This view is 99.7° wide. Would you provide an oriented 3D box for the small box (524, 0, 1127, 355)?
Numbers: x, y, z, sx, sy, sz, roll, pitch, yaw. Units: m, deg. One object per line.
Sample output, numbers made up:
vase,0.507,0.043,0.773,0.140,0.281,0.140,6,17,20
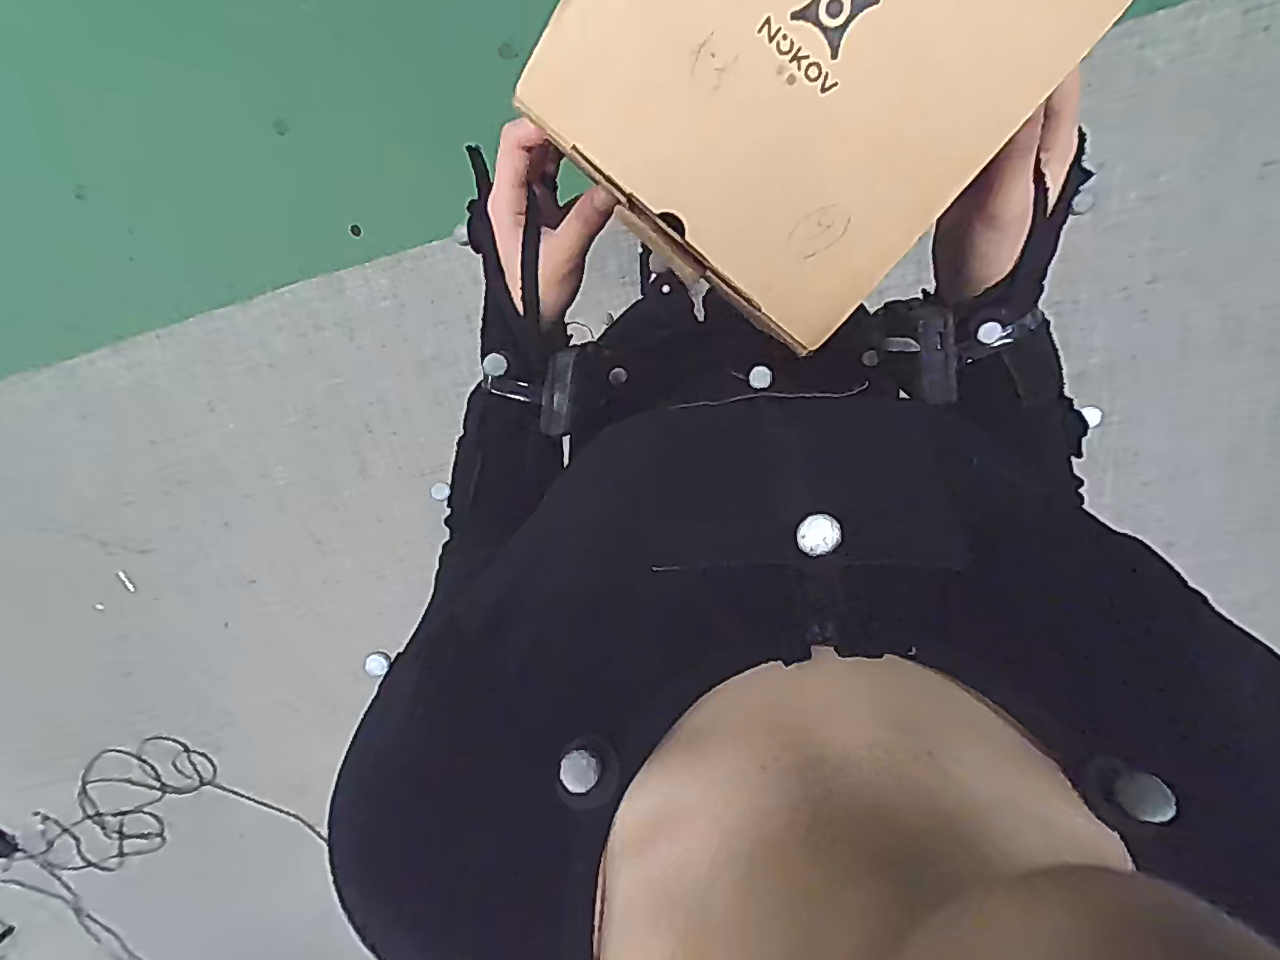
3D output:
small box,0.073,-0.193,0.287,0.168,0.176,0.179,38,109,-8
